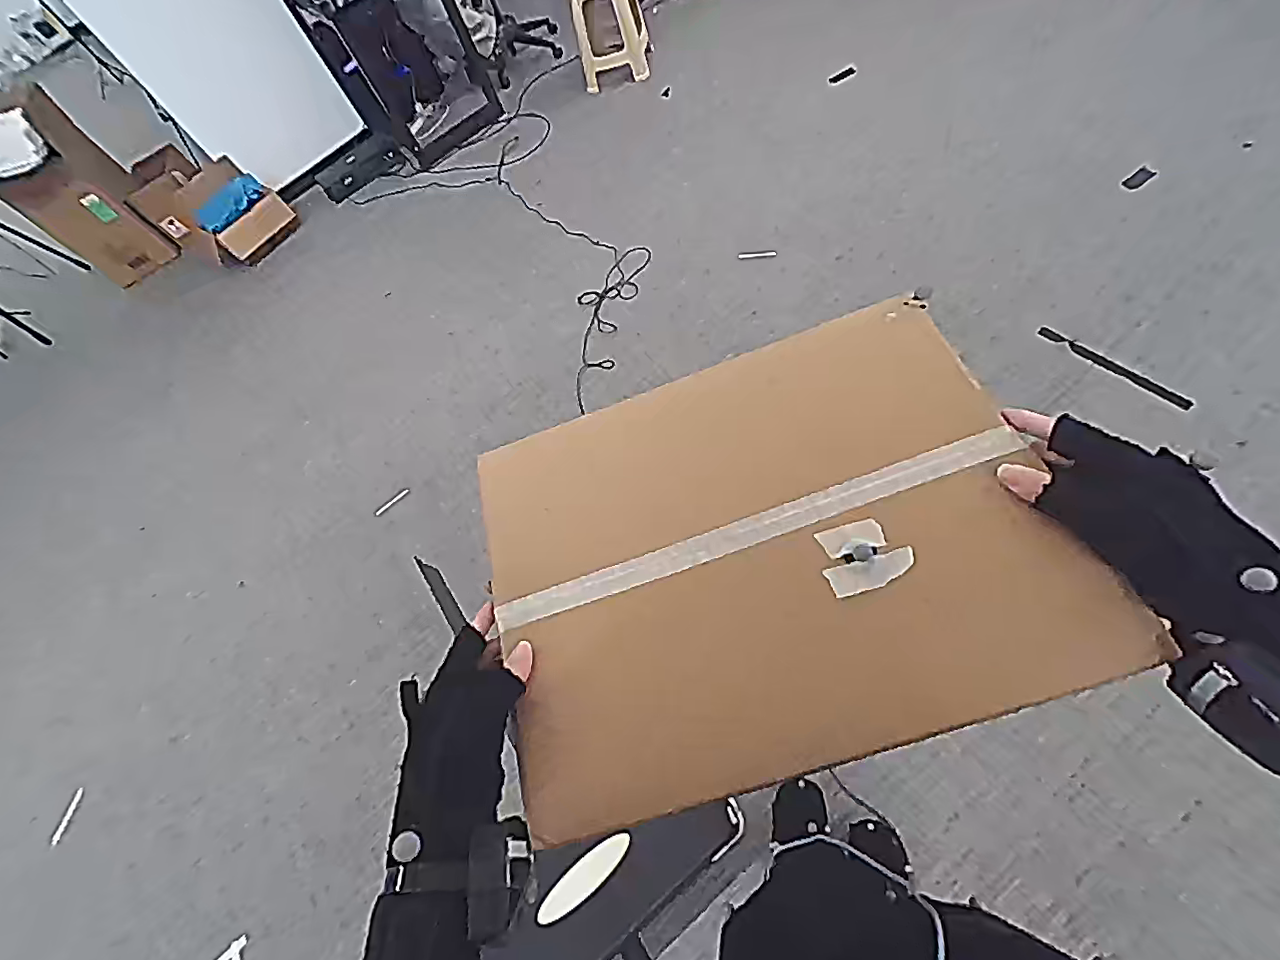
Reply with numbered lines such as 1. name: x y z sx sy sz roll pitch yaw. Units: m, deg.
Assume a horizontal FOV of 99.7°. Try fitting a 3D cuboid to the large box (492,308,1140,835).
1. large box: 0.119 0.108 0.547 0.408 0.320 0.320 -20 61 5
